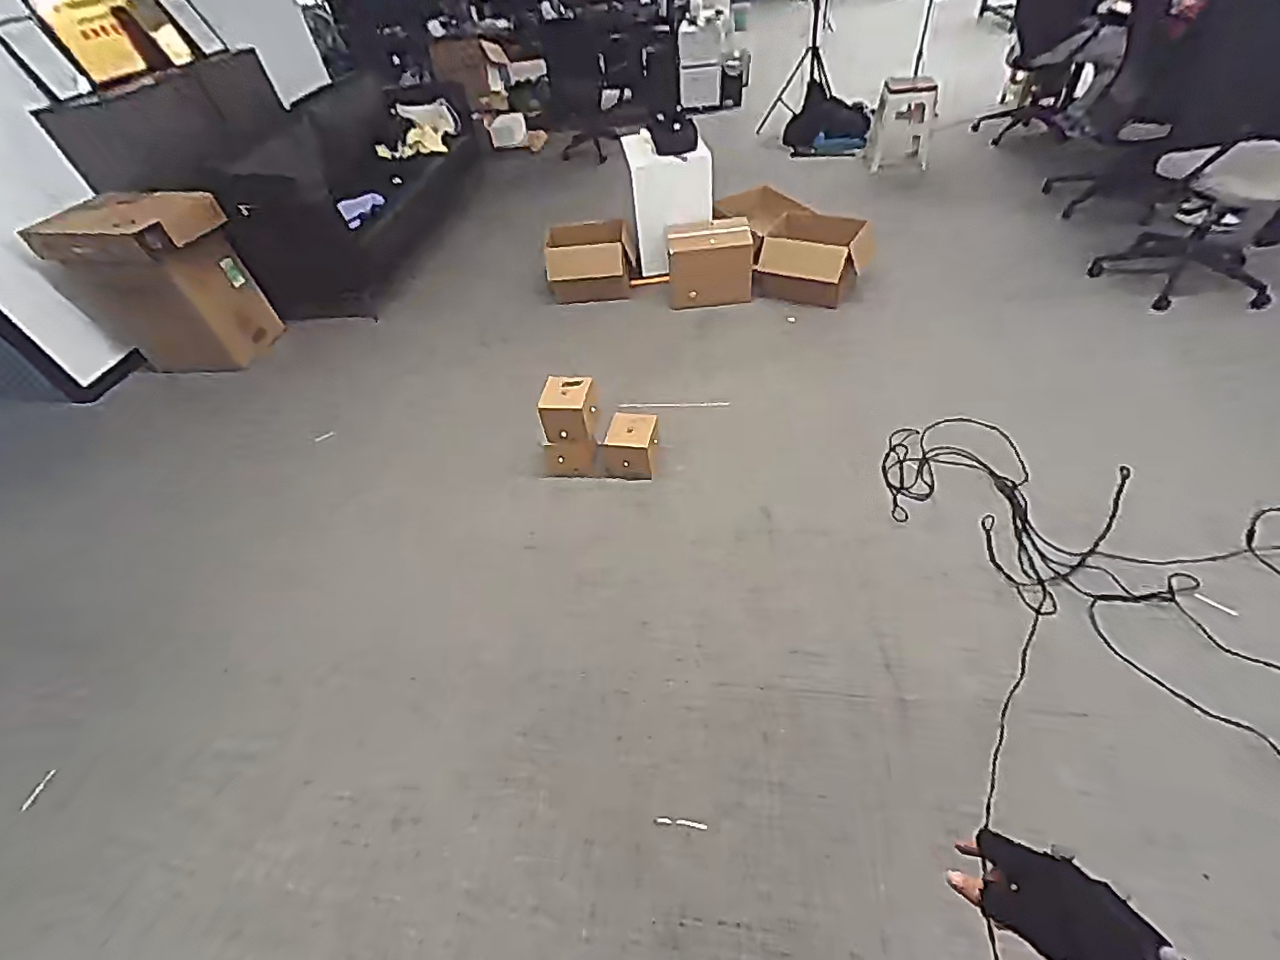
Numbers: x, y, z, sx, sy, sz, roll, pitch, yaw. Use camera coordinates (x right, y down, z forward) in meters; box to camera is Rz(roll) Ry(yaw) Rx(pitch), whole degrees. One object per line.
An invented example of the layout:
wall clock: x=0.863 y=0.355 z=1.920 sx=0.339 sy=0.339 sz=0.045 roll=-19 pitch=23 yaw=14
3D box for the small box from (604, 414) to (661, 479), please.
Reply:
small box: x=-0.021 y=-0.124 z=2.030 sx=0.168 sy=0.176 sz=0.179 roll=5 pitch=48 yaw=14

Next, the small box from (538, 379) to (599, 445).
small box: x=-0.250 y=-0.248 z=1.959 sx=0.168 sy=0.176 sz=0.179 roll=2 pitch=48 yaw=11

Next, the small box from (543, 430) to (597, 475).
small box: x=-0.263 y=-0.133 z=2.080 sx=0.168 sy=0.176 sz=0.179 roll=-3 pitch=47 yaw=7
